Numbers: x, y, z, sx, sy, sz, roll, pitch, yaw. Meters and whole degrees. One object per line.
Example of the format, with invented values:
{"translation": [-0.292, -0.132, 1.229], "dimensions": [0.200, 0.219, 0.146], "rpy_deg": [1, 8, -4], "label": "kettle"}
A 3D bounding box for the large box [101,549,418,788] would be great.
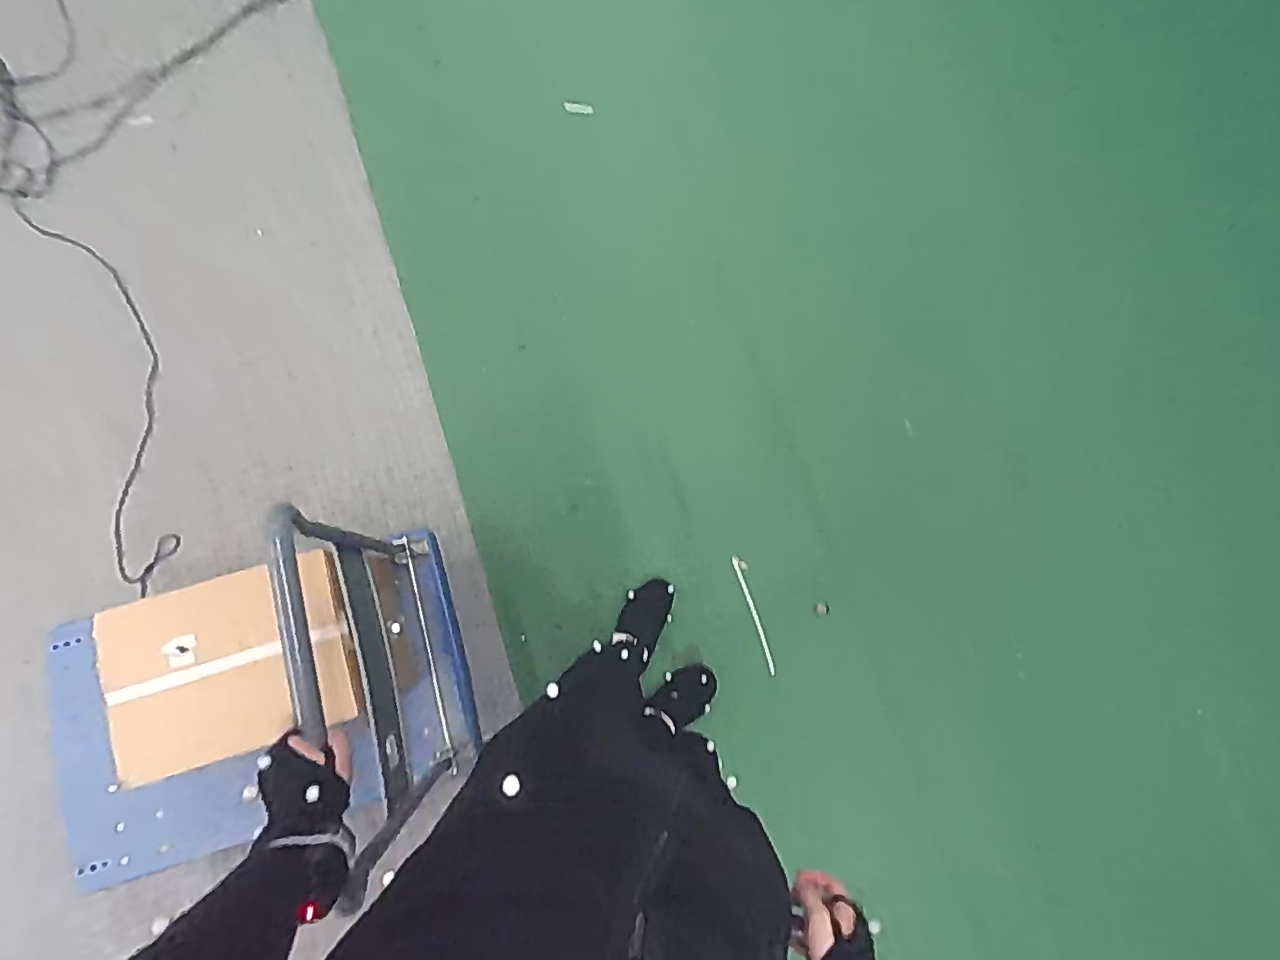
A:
{"translation": [-0.733, 0.349, 1.104], "dimensions": [0.408, 0.320, 0.320], "rpy_deg": [-16, 81, -6], "label": "large box"}
